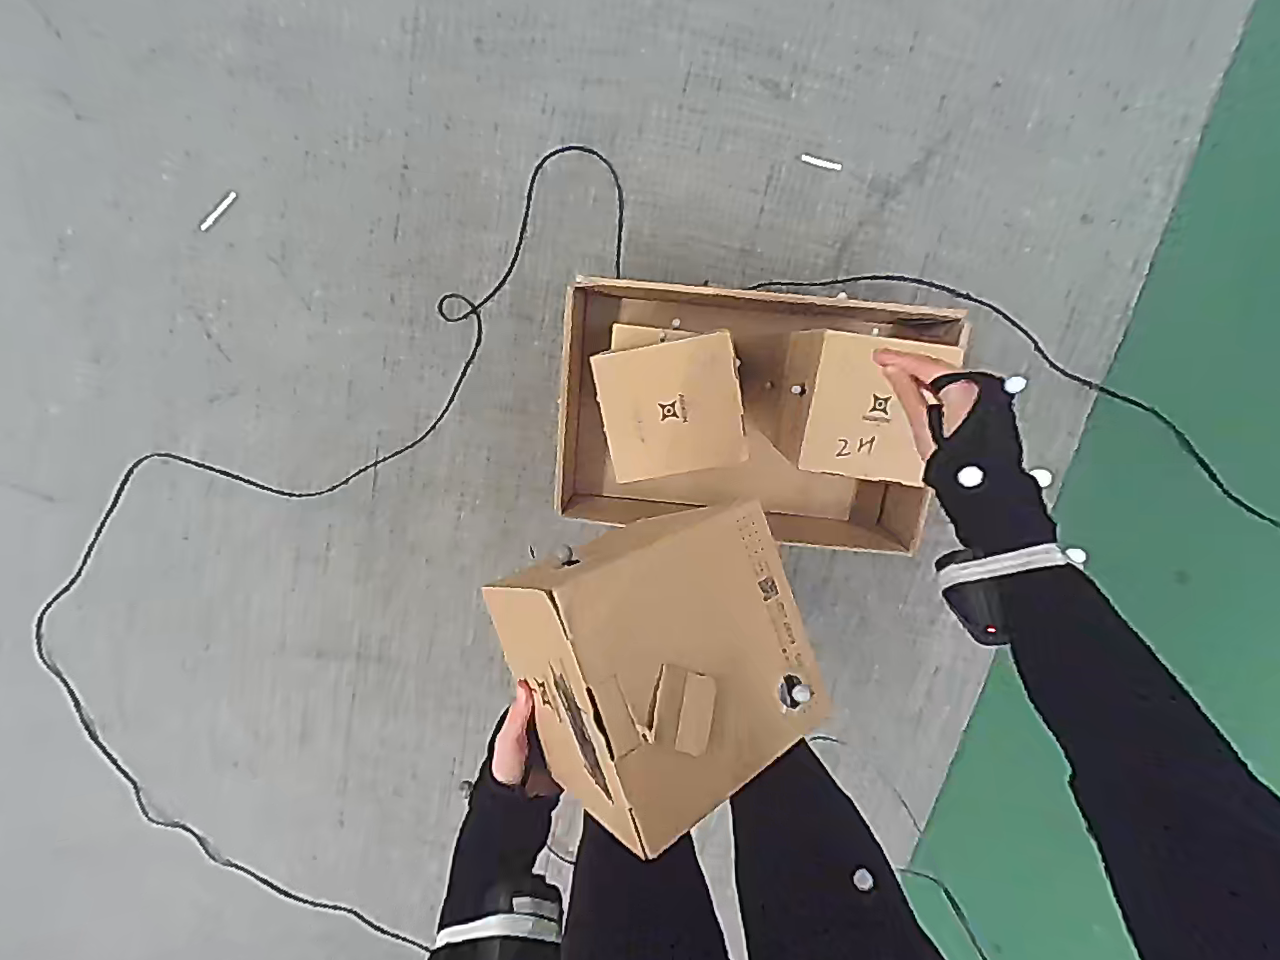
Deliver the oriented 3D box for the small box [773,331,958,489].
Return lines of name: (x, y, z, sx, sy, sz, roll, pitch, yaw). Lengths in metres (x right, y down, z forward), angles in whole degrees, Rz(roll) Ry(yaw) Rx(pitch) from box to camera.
small box: (0.289, -0.102, 0.736, 0.168, 0.176, 0.179, 8, 105, 1)

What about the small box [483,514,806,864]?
small box: (0.003, 0.132, 0.417, 0.176, 0.179, 0.168, -20, 91, -29)

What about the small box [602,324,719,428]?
small box: (0.036, -0.165, 0.903, 0.179, 0.176, 0.168, 6, 105, -1)

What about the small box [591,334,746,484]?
small box: (0.038, -0.106, 0.750, 0.179, 0.176, 0.168, -10, 105, 4)
